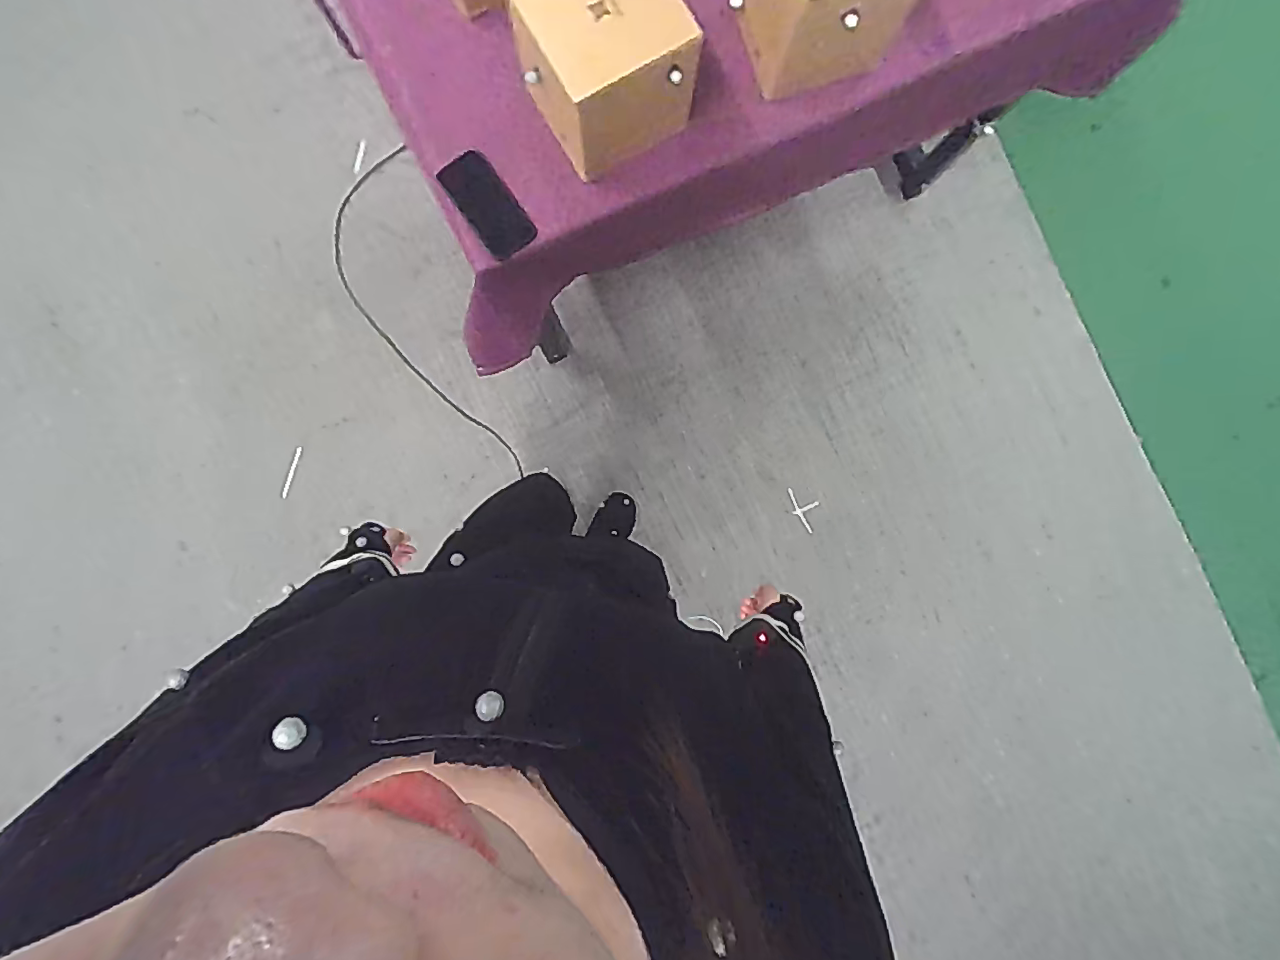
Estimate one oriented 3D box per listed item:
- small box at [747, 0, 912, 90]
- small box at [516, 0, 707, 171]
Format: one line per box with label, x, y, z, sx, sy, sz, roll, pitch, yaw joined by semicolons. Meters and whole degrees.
small box;0.253;-0.665;0.715;0.179;0.176;0.168;-19;91;-3
small box;-0.037;-0.548;0.702;0.179;0.176;0.168;-31;91;-4
